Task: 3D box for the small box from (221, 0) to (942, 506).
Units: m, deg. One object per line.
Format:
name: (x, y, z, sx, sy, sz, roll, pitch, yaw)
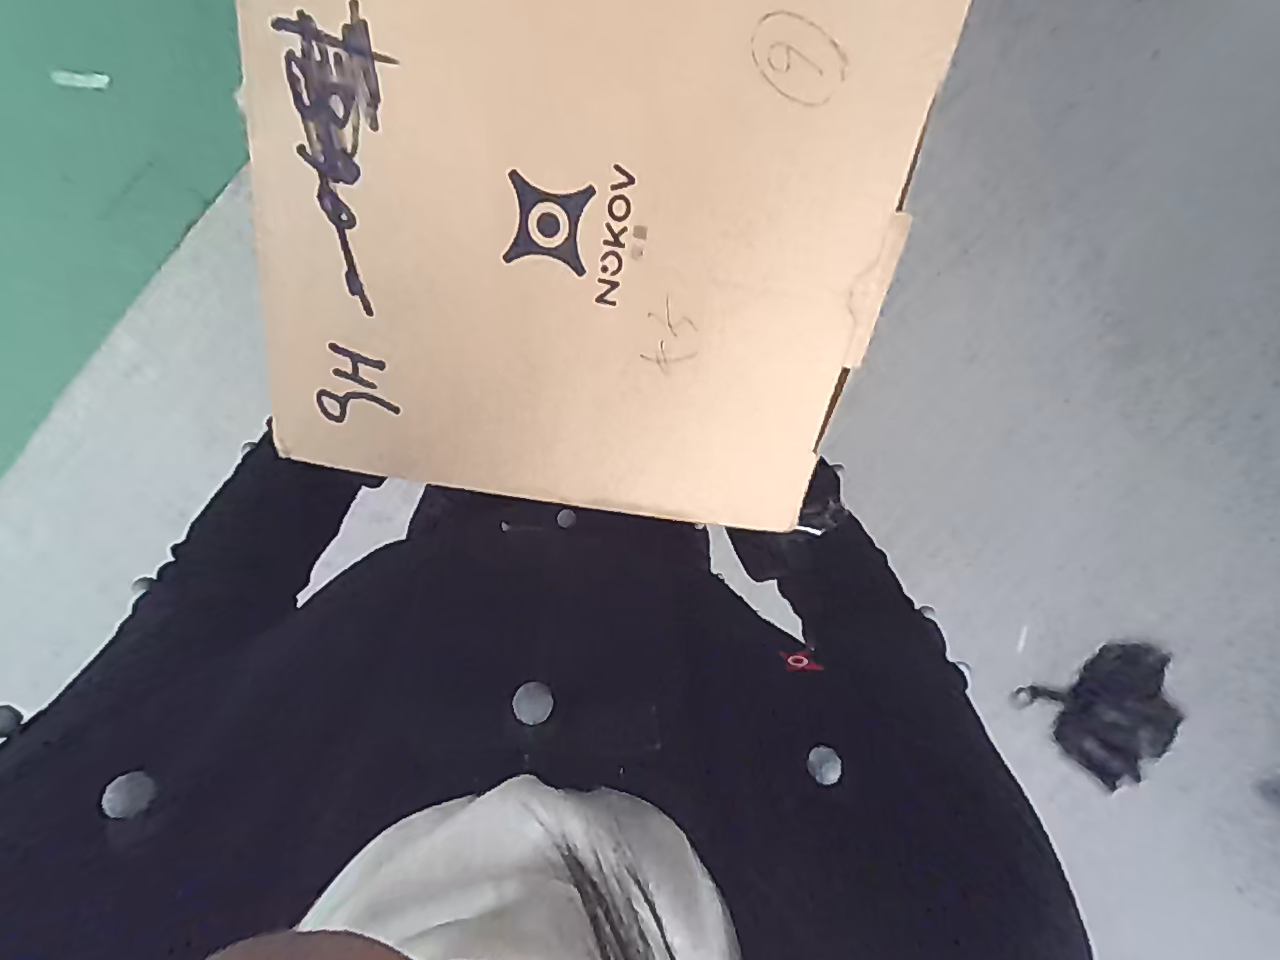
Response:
small box: (-0.024, -0.107, 0.225, 0.179, 0.176, 0.168, 8, 113, -6)
